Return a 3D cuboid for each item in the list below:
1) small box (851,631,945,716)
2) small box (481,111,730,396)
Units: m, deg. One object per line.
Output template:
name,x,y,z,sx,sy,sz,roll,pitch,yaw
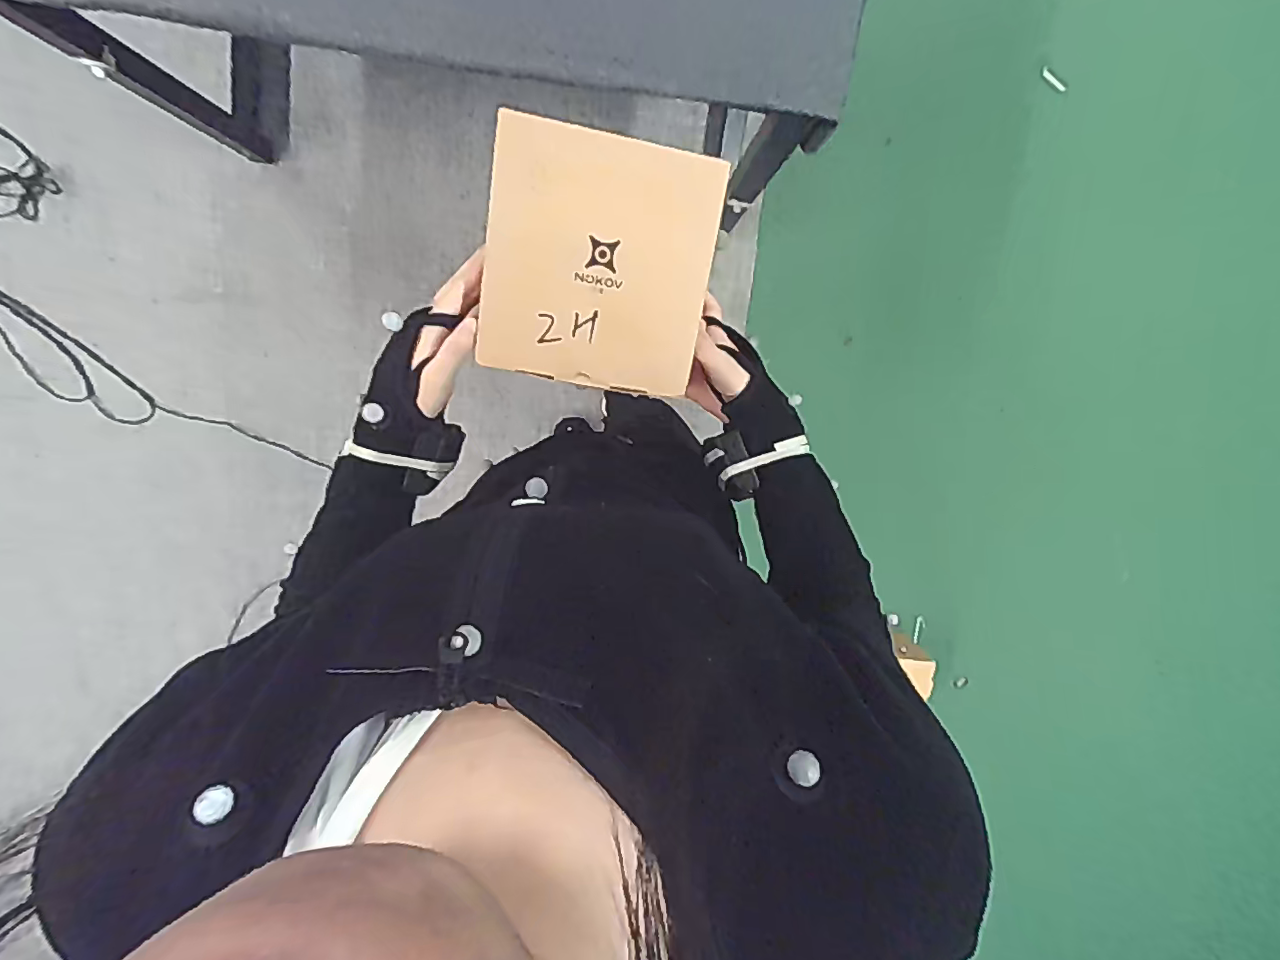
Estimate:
small box,0.731,0.550,1.555,0.179,0.176,0.168,6,101,-4
small box,-0.034,-0.182,0.480,0.168,0.176,0.179,9,104,-7
